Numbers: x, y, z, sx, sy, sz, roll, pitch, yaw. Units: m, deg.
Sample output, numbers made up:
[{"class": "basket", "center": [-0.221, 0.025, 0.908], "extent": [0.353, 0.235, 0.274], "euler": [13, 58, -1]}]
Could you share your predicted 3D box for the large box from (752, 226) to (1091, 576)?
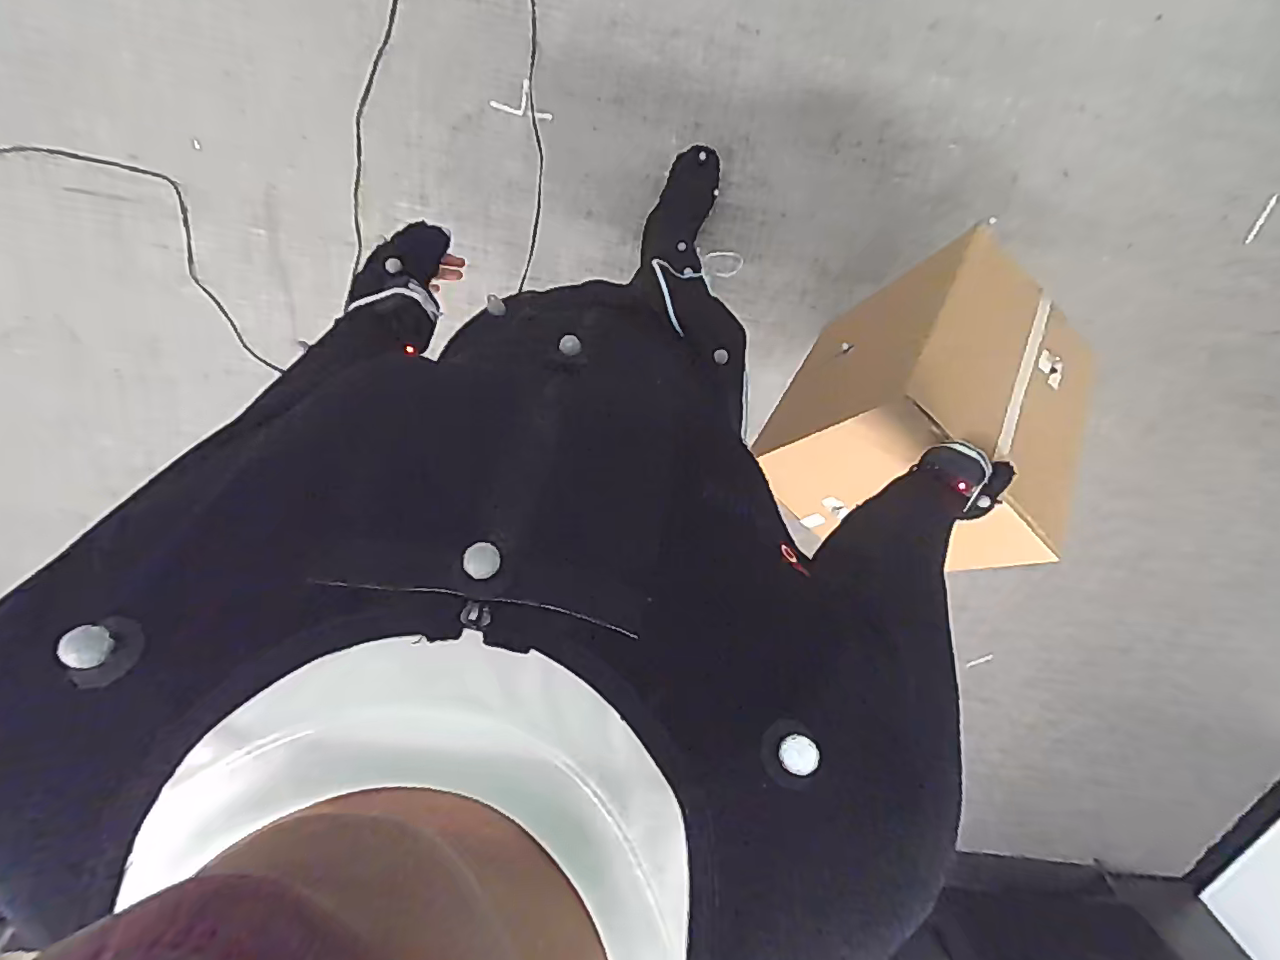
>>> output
[{"class": "large box", "center": [0.450, -0.105, 0.877], "extent": [0.320, 0.408, 0.320], "euler": [42, 152, -12]}]
